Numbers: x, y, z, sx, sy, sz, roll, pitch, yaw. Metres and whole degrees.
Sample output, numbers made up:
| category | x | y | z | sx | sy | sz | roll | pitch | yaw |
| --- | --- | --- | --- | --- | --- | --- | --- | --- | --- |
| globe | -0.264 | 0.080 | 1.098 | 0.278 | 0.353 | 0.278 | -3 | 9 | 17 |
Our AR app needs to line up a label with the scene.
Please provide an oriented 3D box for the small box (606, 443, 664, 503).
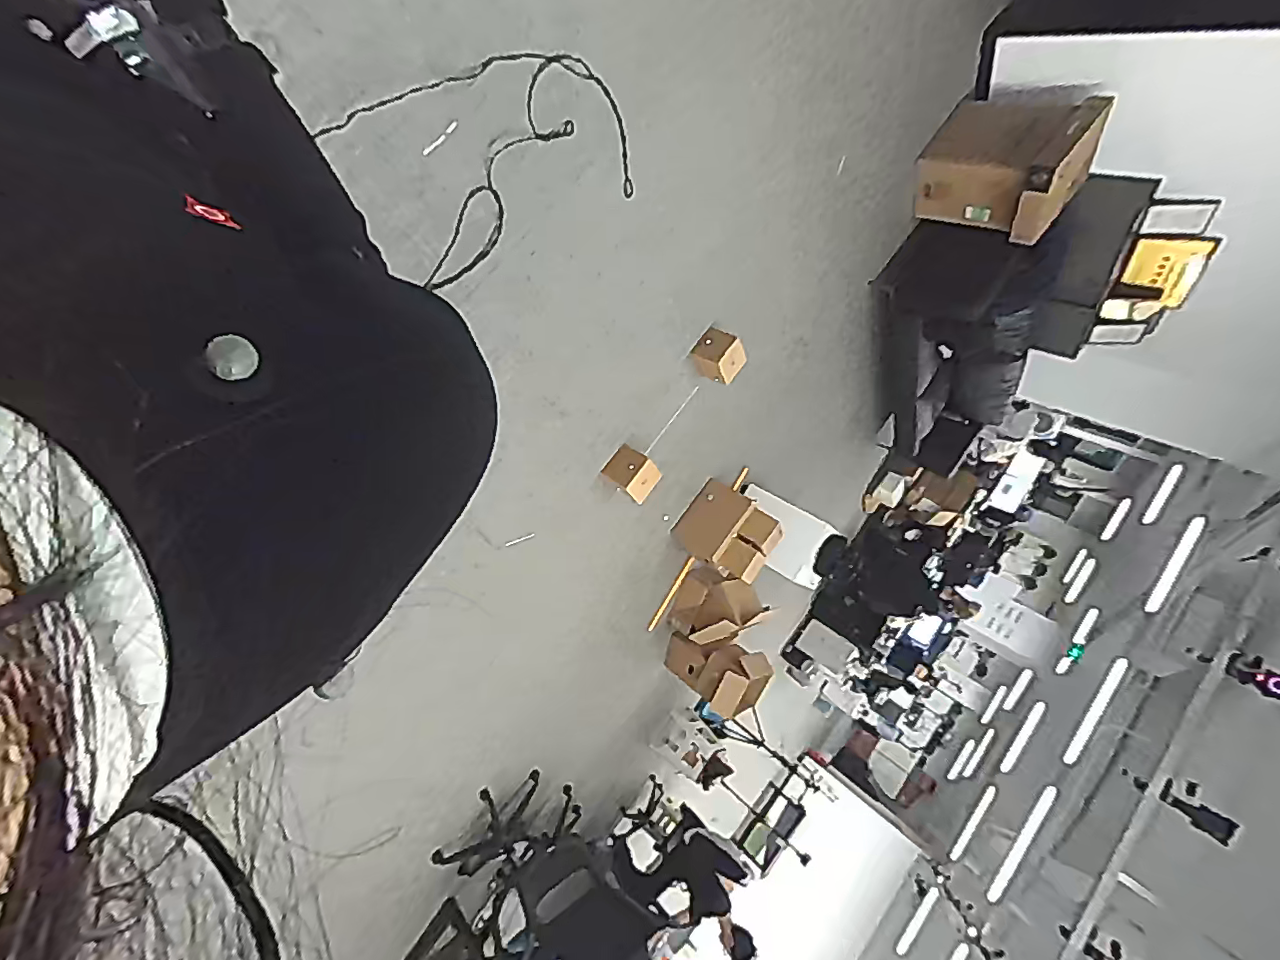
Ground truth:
| category | x | y | z | sx | sy | sz | roll | pitch | yaw |
| --- | --- | --- | --- | --- | --- | --- | --- | --- | --- |
| small box | -0.030 | -0.034 | 2.434 | 0.179 | 0.176 | 0.168 | -53 | 145 | -9 |

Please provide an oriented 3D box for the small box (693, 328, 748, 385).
| category | x | y | z | sx | sy | sz | roll | pitch | yaw |
| --- | --- | --- | --- | --- | --- | --- | --- | --- | --- |
| small box | 0.376 | -0.579 | 2.520 | 0.168 | 0.176 | 0.179 | -53 | 145 | -8 |
